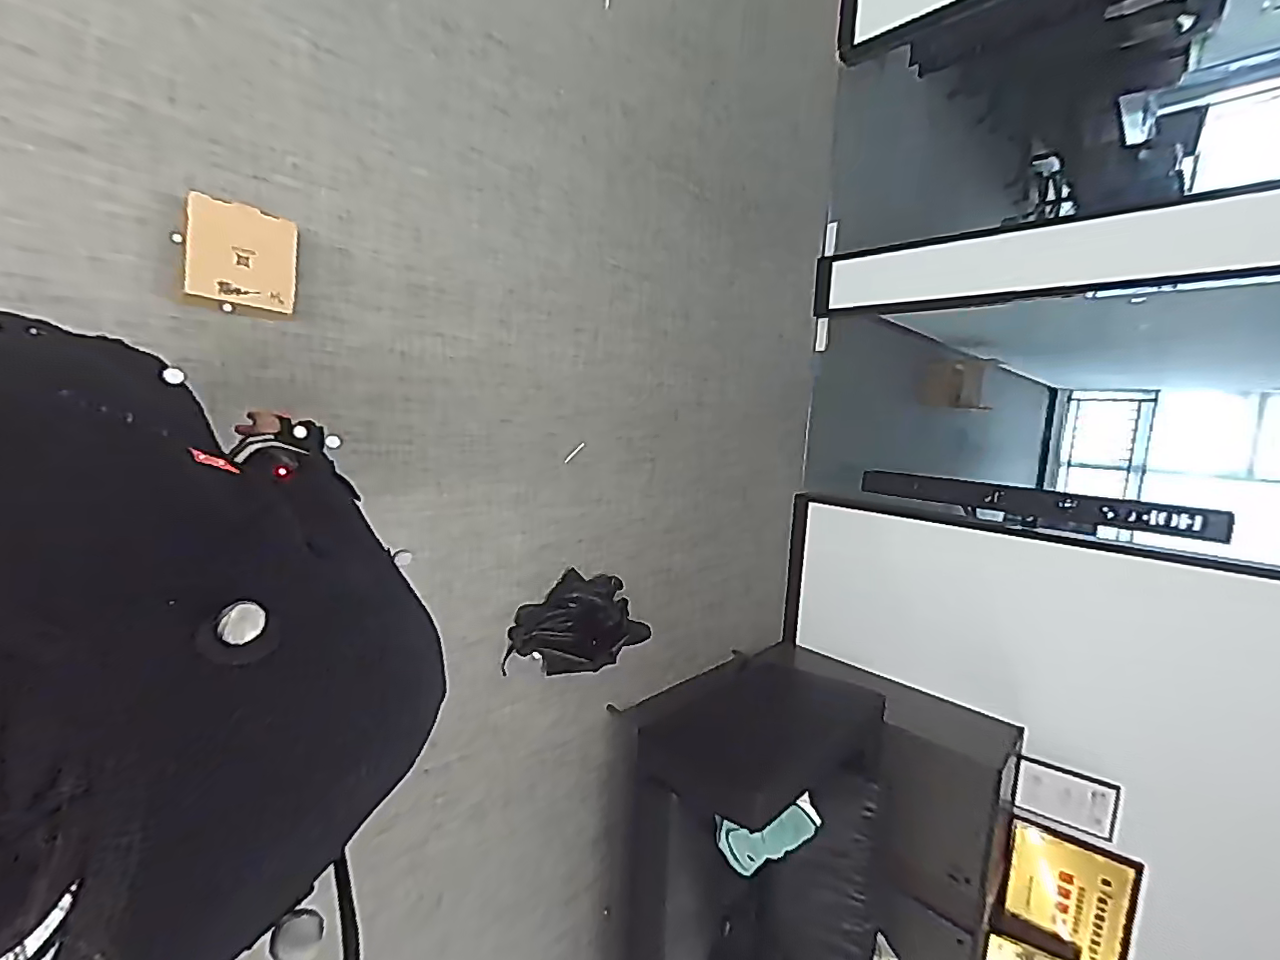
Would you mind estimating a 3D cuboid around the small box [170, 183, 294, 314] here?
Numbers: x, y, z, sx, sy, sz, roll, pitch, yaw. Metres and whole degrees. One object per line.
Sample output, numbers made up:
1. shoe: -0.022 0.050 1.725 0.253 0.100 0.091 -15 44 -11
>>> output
1. small box: -0.784 -0.429 1.036 0.168 0.176 0.179 1 97 -46
